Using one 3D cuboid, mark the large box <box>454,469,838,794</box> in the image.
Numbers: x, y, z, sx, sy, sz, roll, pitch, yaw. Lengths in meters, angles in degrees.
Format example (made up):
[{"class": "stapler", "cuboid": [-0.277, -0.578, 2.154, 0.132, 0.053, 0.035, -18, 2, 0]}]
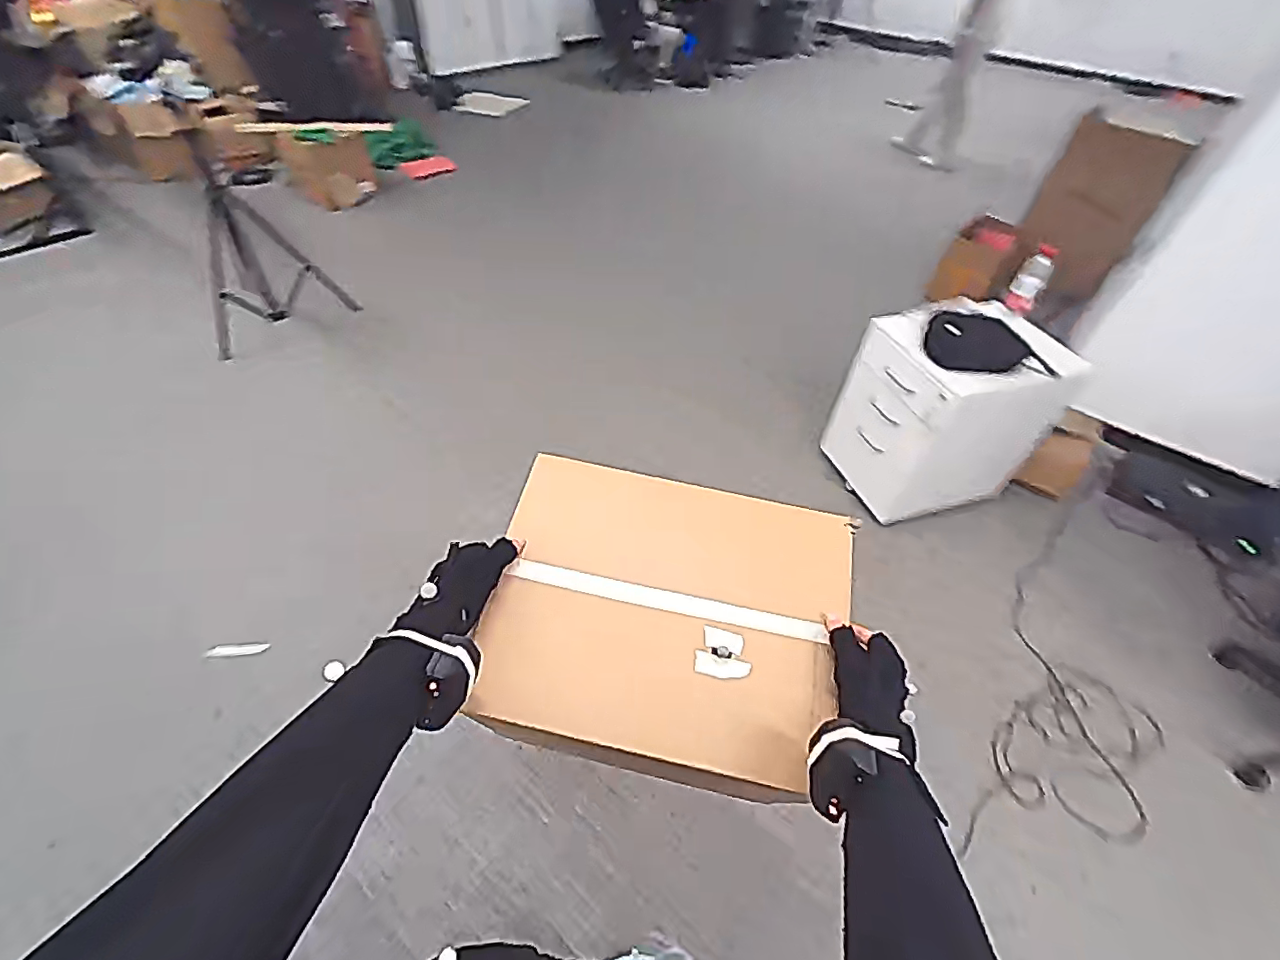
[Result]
[{"class": "large box", "cuboid": [0.017, 0.221, 0.748, 0.408, 0.320, 0.320, 11, 59, 3]}]
